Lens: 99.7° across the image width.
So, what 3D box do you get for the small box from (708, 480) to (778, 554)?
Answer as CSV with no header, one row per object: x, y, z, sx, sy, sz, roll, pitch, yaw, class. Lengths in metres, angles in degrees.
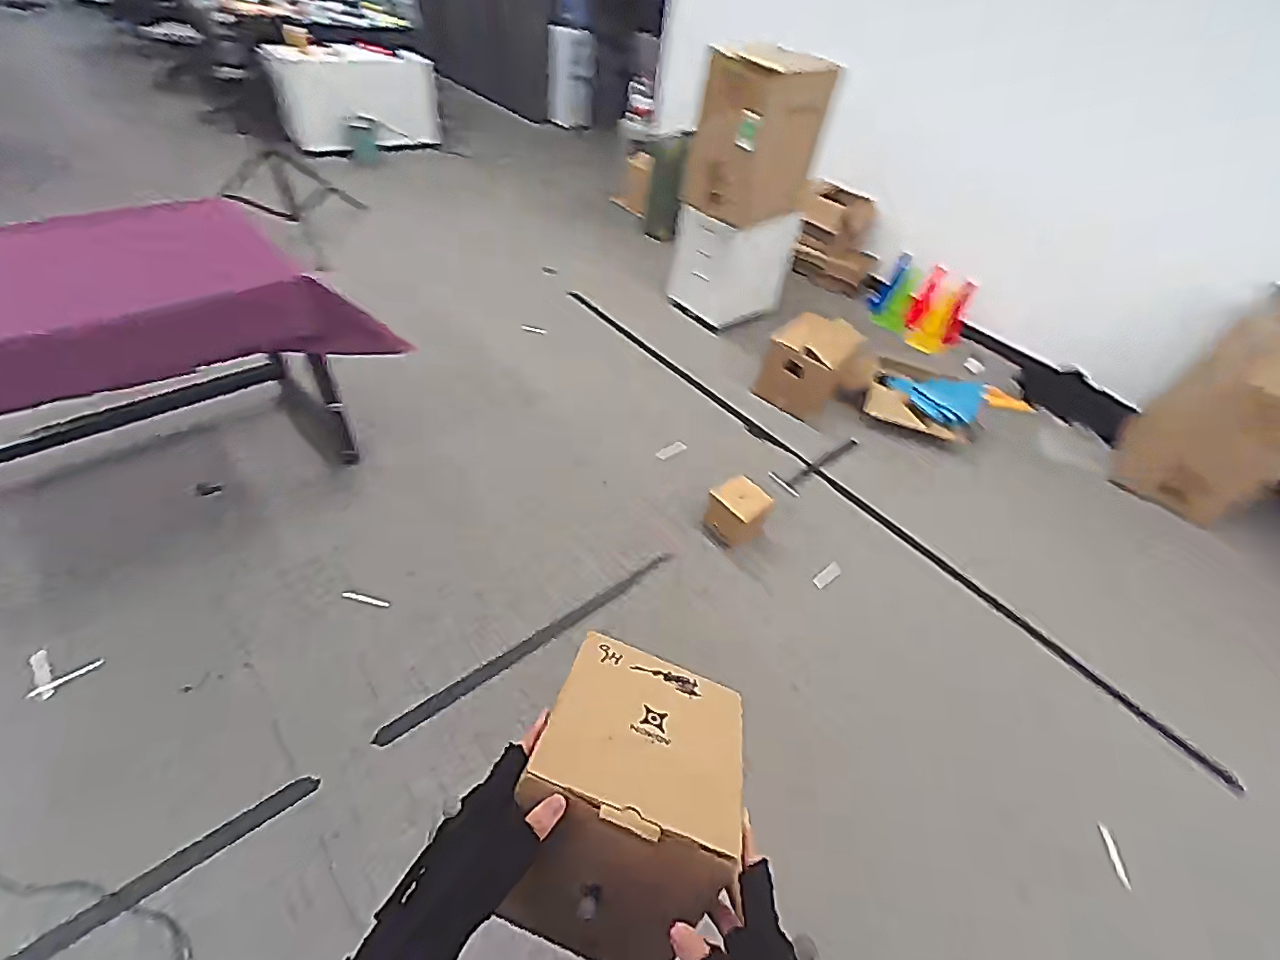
0.375,0.137,1.998,0.179,0.176,0.168,-27,55,-31,small box

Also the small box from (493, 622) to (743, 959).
-0.016,0.270,0.486,0.168,0.176,0.179,22,22,2,small box
